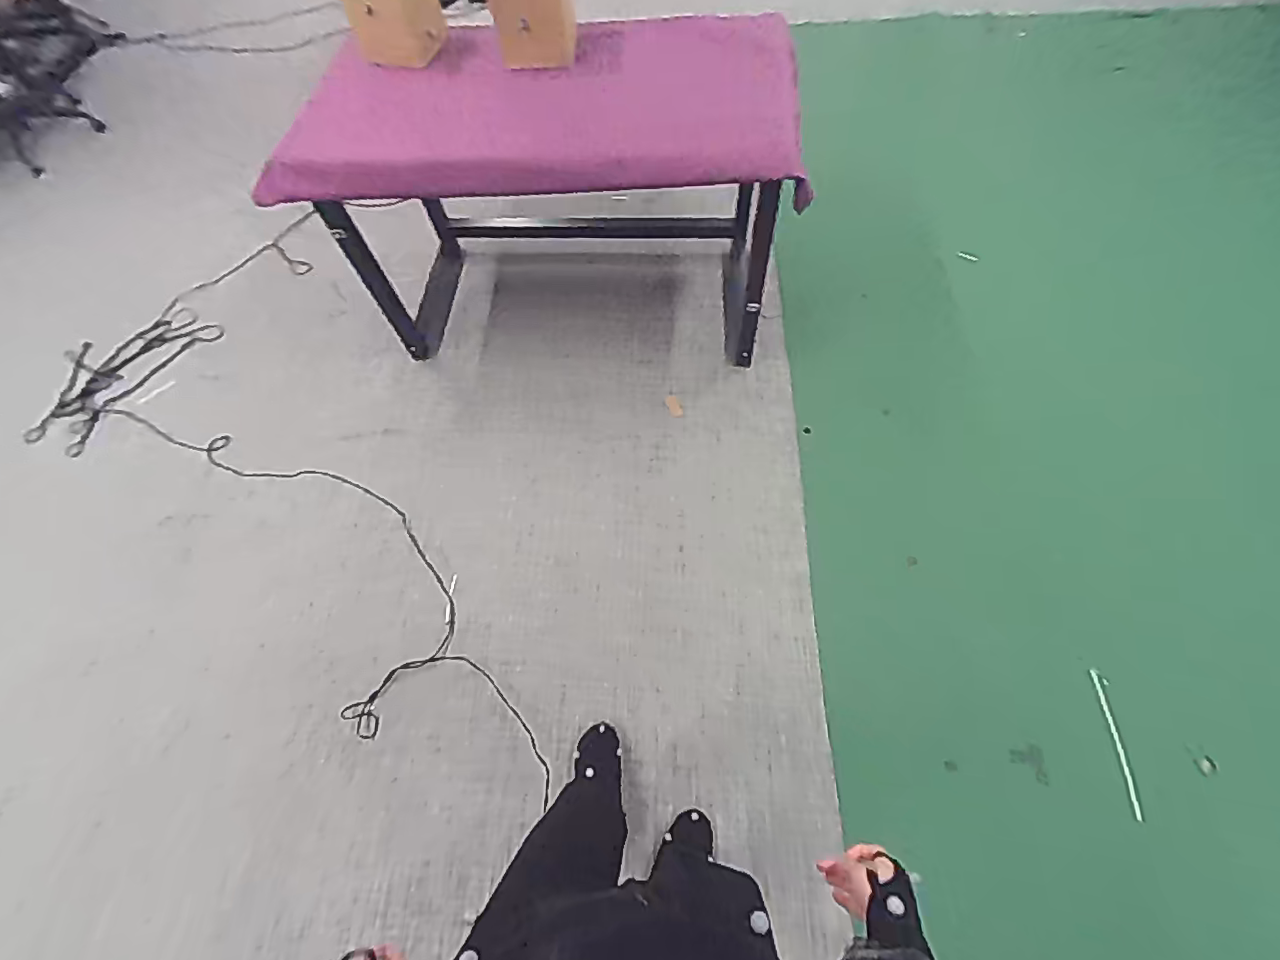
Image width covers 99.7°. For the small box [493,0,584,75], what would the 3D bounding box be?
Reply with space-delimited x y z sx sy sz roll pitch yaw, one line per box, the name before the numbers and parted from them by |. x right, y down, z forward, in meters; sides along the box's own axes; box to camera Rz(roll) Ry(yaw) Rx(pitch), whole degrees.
small box | -0.247 -1.151 1.355 0.179 0.176 0.168 1 64 5

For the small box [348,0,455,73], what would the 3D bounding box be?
small box | -0.612 -1.190 1.396 0.179 0.176 0.168 13 65 9
